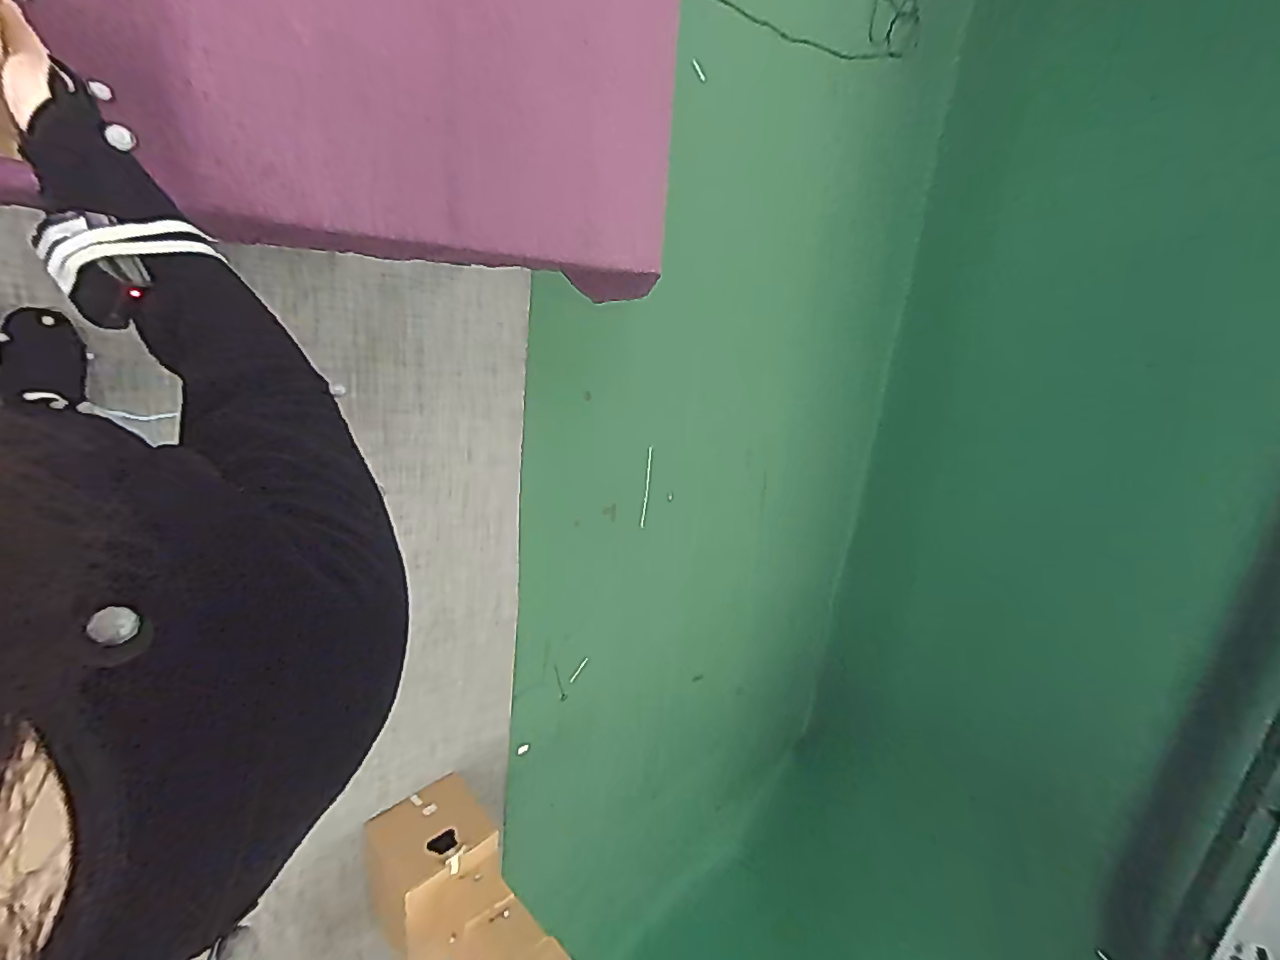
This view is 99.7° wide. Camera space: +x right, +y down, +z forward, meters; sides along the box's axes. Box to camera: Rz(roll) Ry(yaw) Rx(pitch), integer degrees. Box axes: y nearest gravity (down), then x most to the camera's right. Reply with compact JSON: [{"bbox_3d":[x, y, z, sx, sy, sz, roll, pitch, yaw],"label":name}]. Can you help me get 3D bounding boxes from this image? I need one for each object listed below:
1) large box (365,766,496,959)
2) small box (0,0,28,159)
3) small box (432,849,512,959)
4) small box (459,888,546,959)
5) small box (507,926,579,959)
[{"bbox_3d":[-0.713,1.296,1.851,0.320,0.320,0.408,-13,116,-45],"label":"large box"},{"bbox_3d":[-0.515,-0.346,0.333,0.168,0.176,0.179,-8,92,-45],"label":"small box"},{"bbox_3d":[-0.529,1.312,1.686,0.168,0.176,0.179,2,104,-49],"label":"small box"},{"bbox_3d":[-0.409,1.364,1.589,0.168,0.176,0.179,7,99,-51],"label":"small box"},{"bbox_3d":[-0.283,1.403,1.490,0.179,0.176,0.168,9,99,-51],"label":"small box"}]
